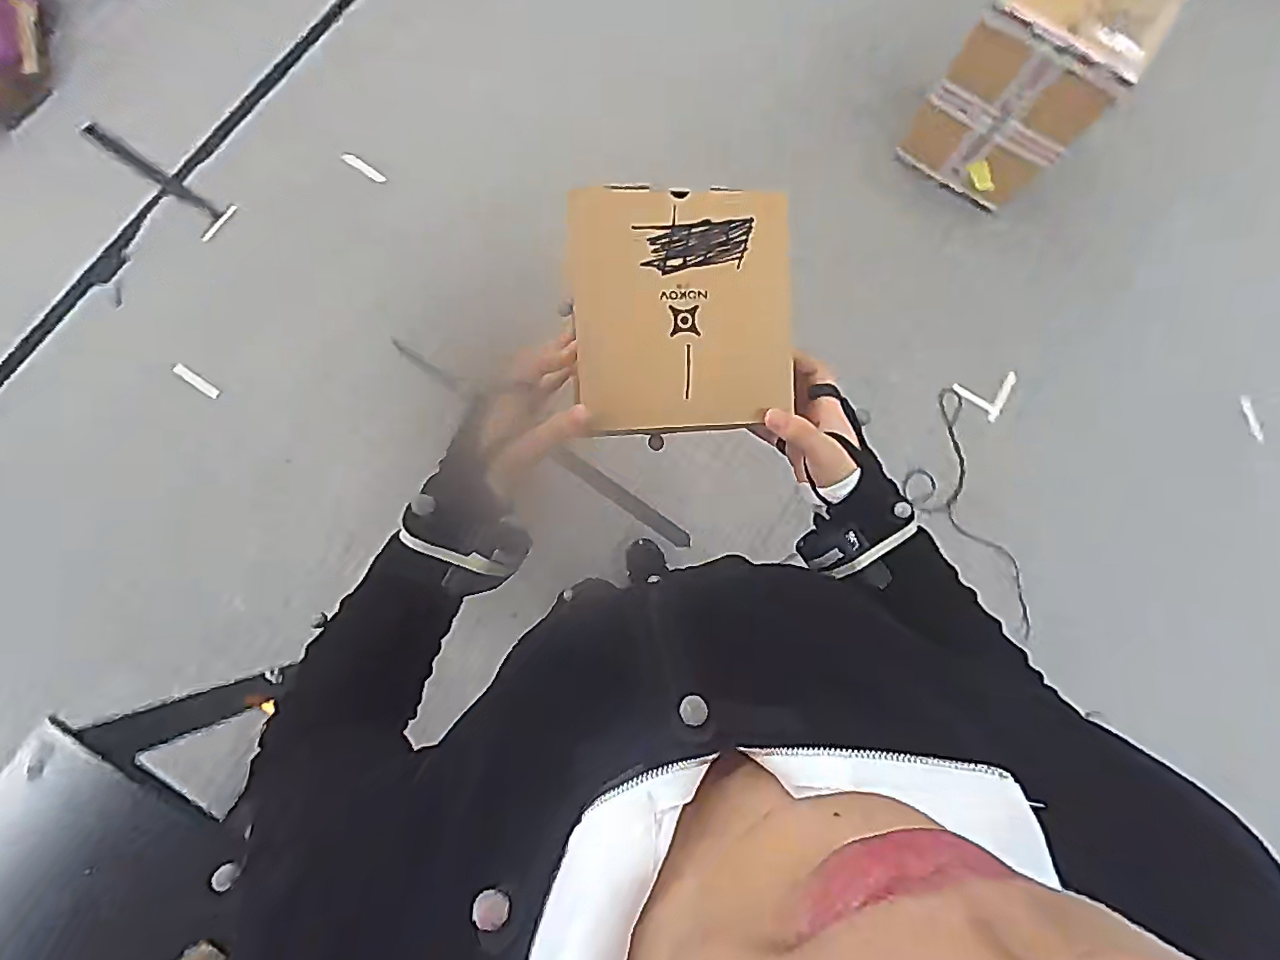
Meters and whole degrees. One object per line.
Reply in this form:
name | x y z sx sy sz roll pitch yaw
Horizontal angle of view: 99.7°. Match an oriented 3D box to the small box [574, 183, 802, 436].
small box | 0.029 -0.131 0.477 0.168 0.176 0.179 -3 94 -7
